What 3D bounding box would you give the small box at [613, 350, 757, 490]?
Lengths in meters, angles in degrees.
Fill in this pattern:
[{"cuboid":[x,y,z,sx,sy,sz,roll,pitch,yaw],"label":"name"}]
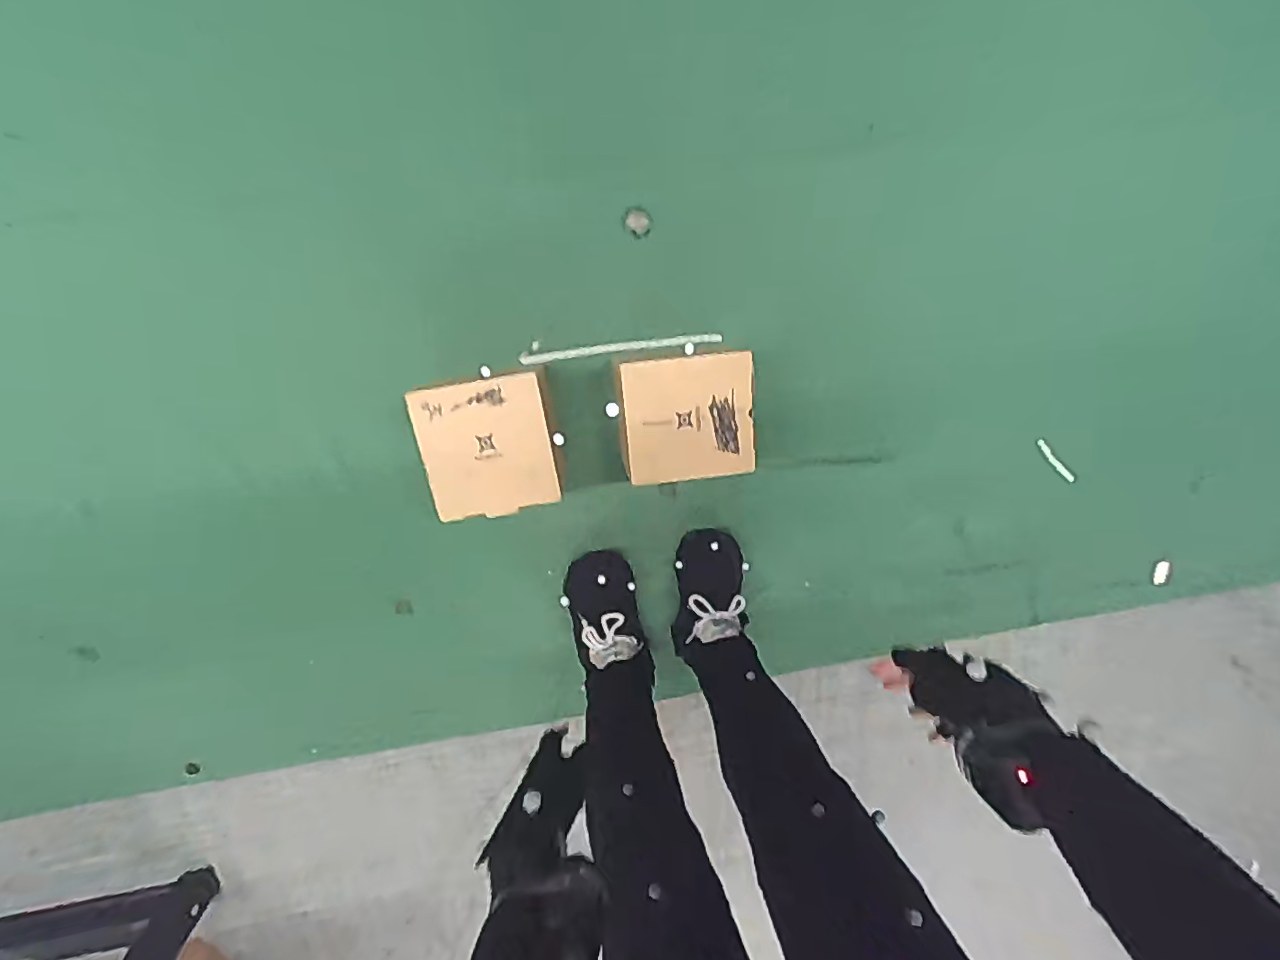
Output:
[{"cuboid":[0.059,-0.096,0.789,0.179,0.176,0.168,-7,107,-5],"label":"small box"}]
